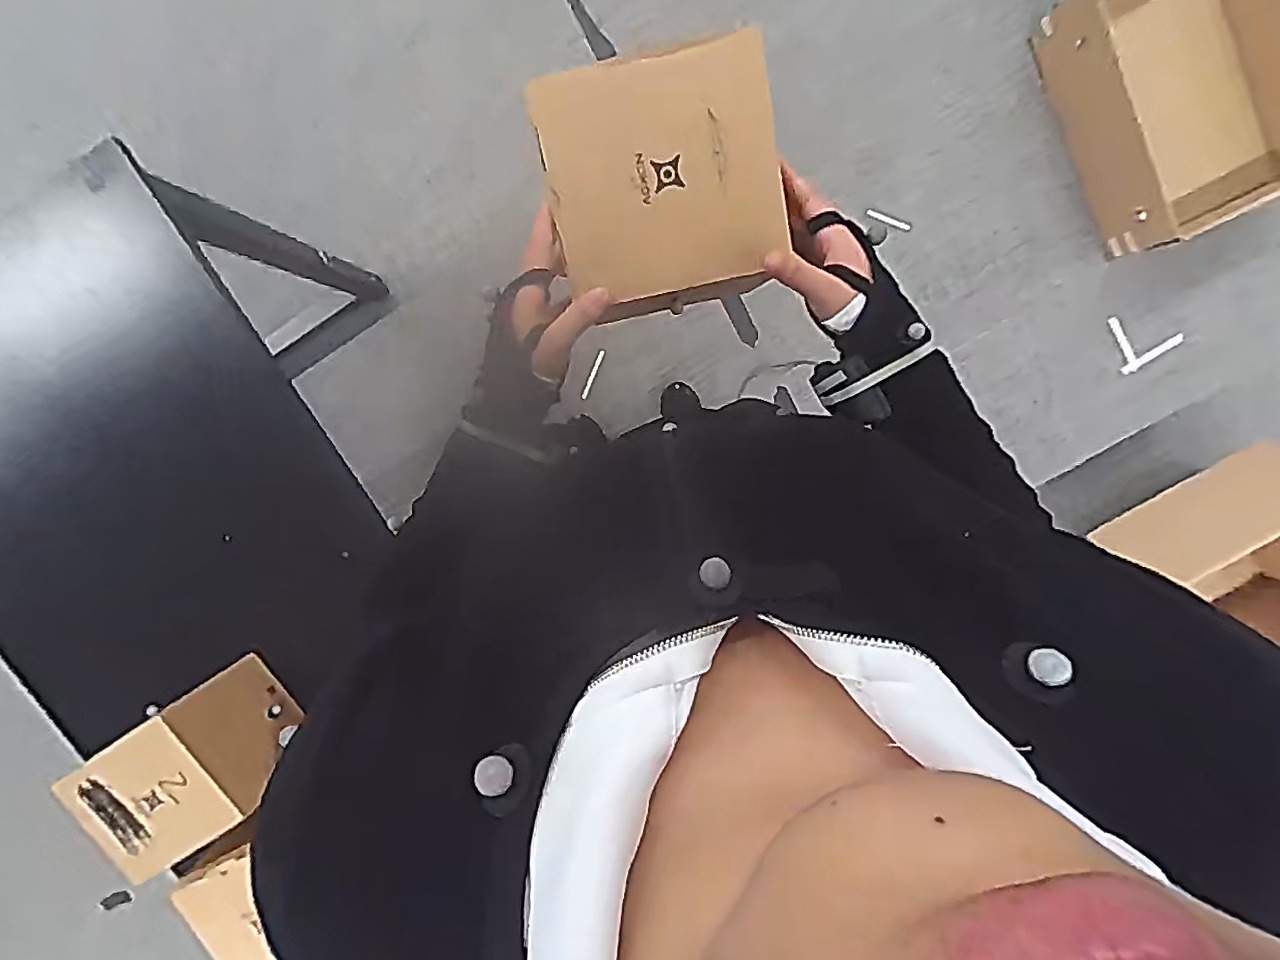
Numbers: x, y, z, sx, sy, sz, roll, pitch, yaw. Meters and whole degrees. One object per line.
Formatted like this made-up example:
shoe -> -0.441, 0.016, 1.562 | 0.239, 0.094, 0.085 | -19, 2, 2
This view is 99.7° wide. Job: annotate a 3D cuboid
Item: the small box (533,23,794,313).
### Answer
small box -> 0.022, -0.253, 0.488 | 0.179, 0.176, 0.168 | -12, 104, 3
